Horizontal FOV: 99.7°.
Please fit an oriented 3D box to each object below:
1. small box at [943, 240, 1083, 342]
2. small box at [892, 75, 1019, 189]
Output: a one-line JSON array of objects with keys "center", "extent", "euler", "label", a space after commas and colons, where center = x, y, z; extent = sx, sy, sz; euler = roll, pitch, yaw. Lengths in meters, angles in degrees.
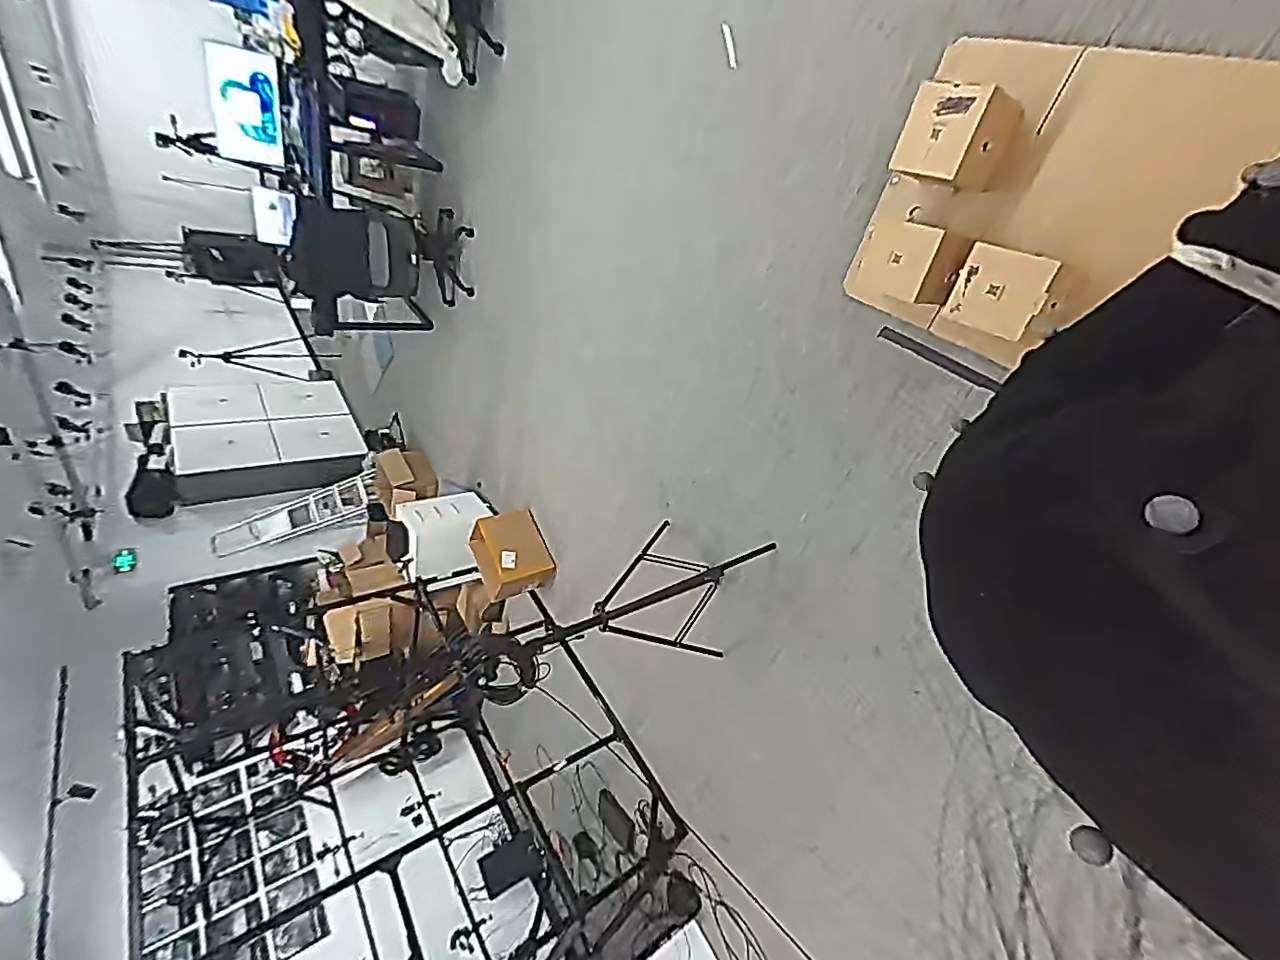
[{"center": [0.817, -0.413, 1.182], "extent": [0.179, 0.176, 0.168], "euler": [40, 128, 38], "label": "small box"}, {"center": [0.715, -0.781, 1.221], "extent": [0.168, 0.176, 0.179], "euler": [41, 129, 38], "label": "small box"}]
